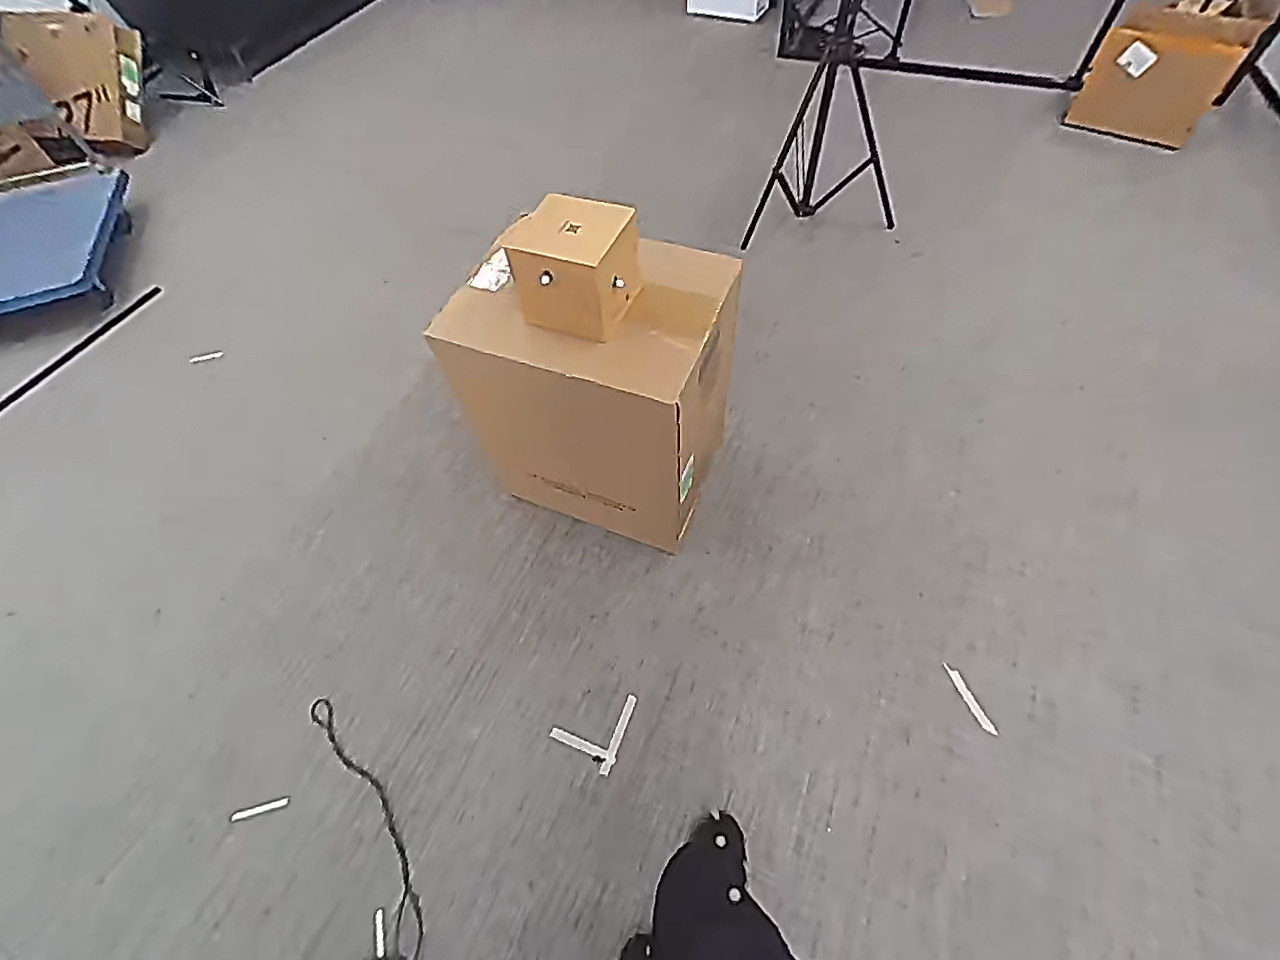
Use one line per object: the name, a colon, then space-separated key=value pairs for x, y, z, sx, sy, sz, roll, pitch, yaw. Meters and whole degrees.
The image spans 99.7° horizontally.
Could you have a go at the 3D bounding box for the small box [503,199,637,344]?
small box: x=-0.114 y=-0.374 z=0.982 sx=0.179 sy=0.176 sz=0.168 roll=18 pitch=61 yaw=15
